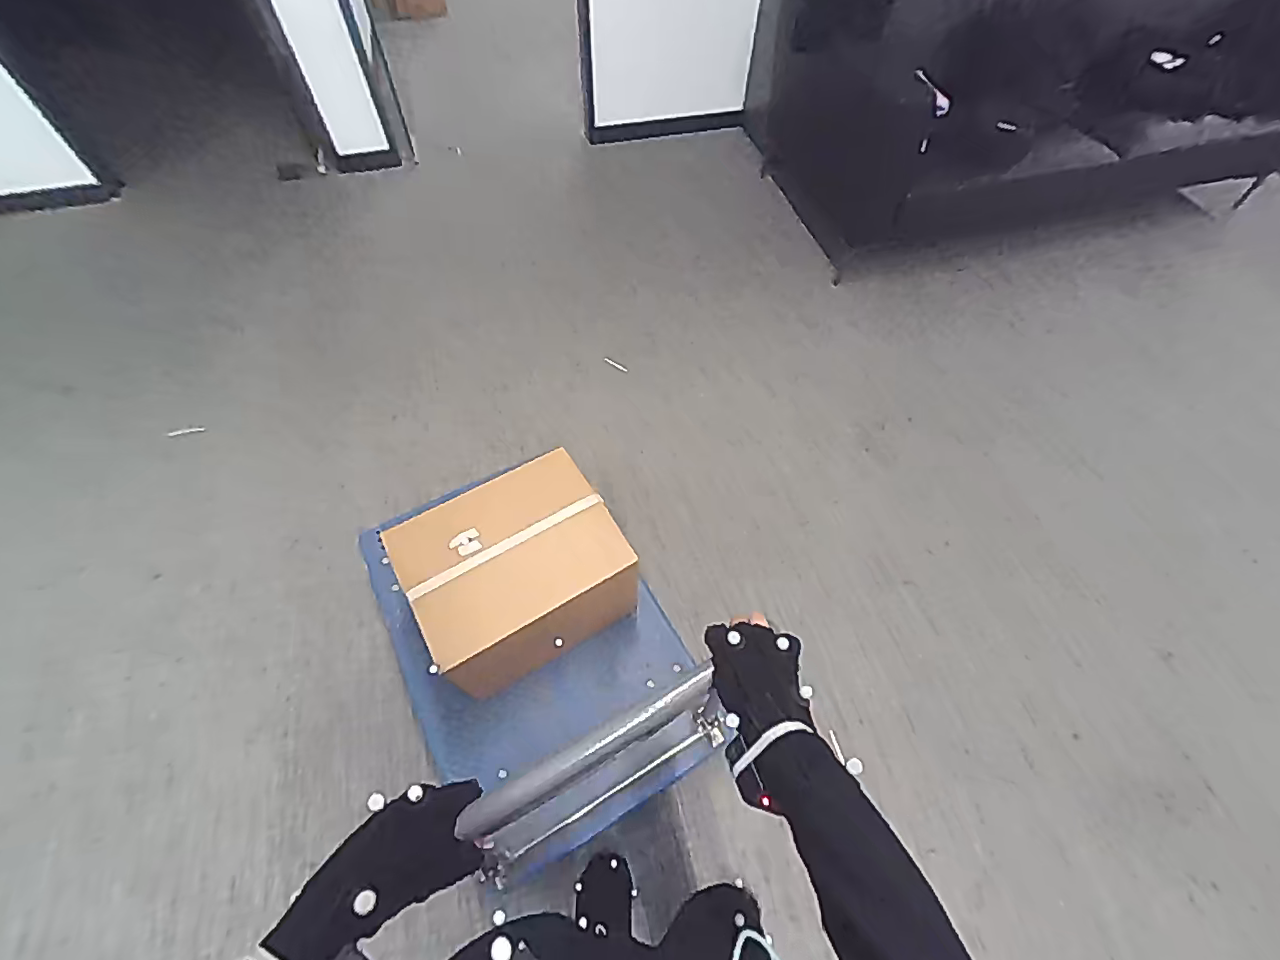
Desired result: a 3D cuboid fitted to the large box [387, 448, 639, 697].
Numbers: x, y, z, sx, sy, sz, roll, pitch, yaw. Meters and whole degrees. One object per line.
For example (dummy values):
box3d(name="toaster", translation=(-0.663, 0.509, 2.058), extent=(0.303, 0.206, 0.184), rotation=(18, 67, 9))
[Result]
box3d(name="large box", translation=(-0.251, 0.204, 1.174), extent=(0.408, 0.320, 0.320), rotation=(-28, 64, -17))
